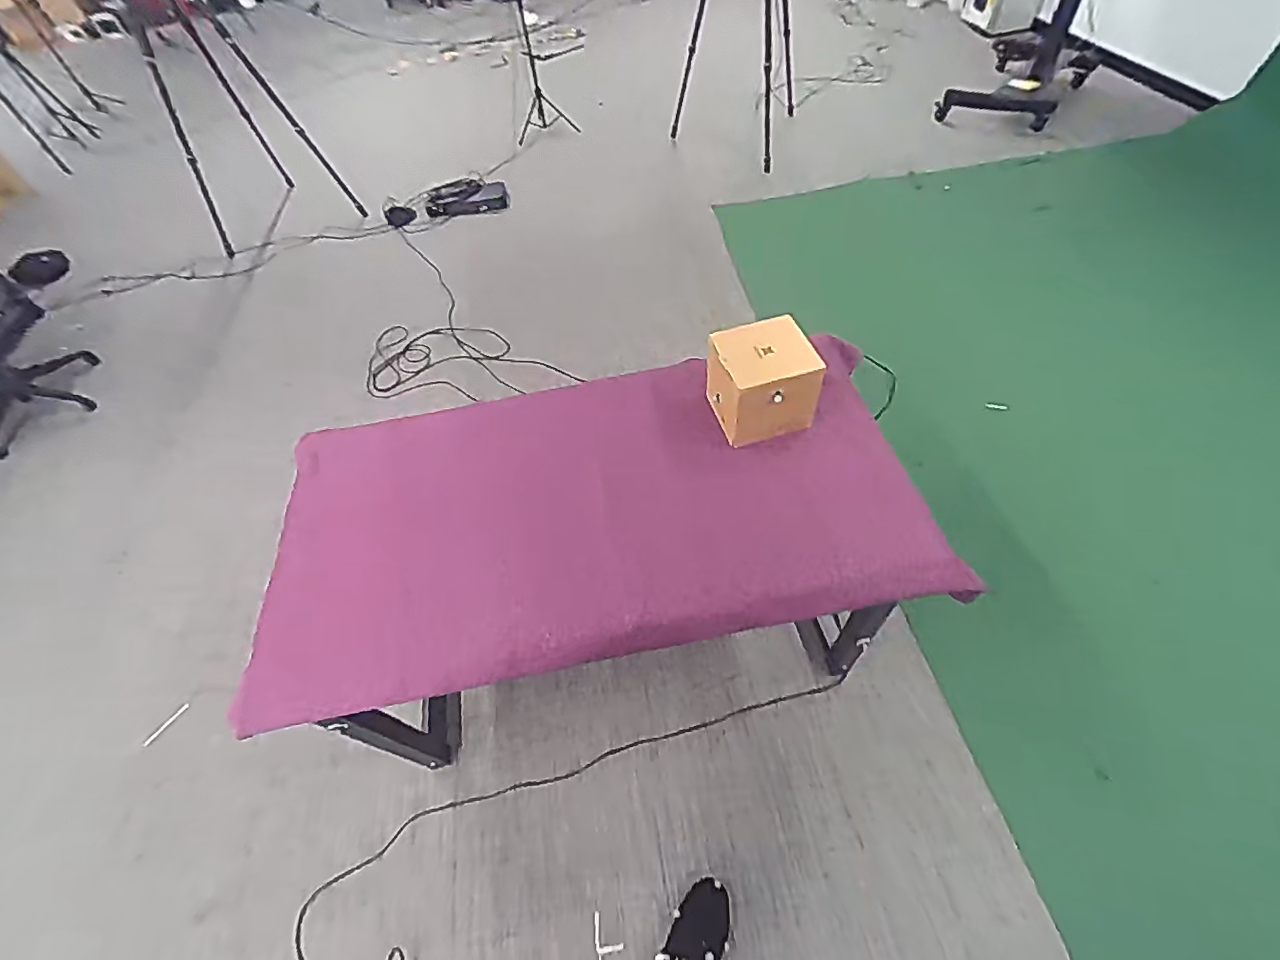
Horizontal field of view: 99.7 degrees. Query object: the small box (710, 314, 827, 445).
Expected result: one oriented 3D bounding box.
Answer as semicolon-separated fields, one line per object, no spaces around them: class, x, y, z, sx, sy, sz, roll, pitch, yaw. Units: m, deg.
small box;0.245;-0.198;1.086;0.179;0.176;0.168;-16;55;-3
